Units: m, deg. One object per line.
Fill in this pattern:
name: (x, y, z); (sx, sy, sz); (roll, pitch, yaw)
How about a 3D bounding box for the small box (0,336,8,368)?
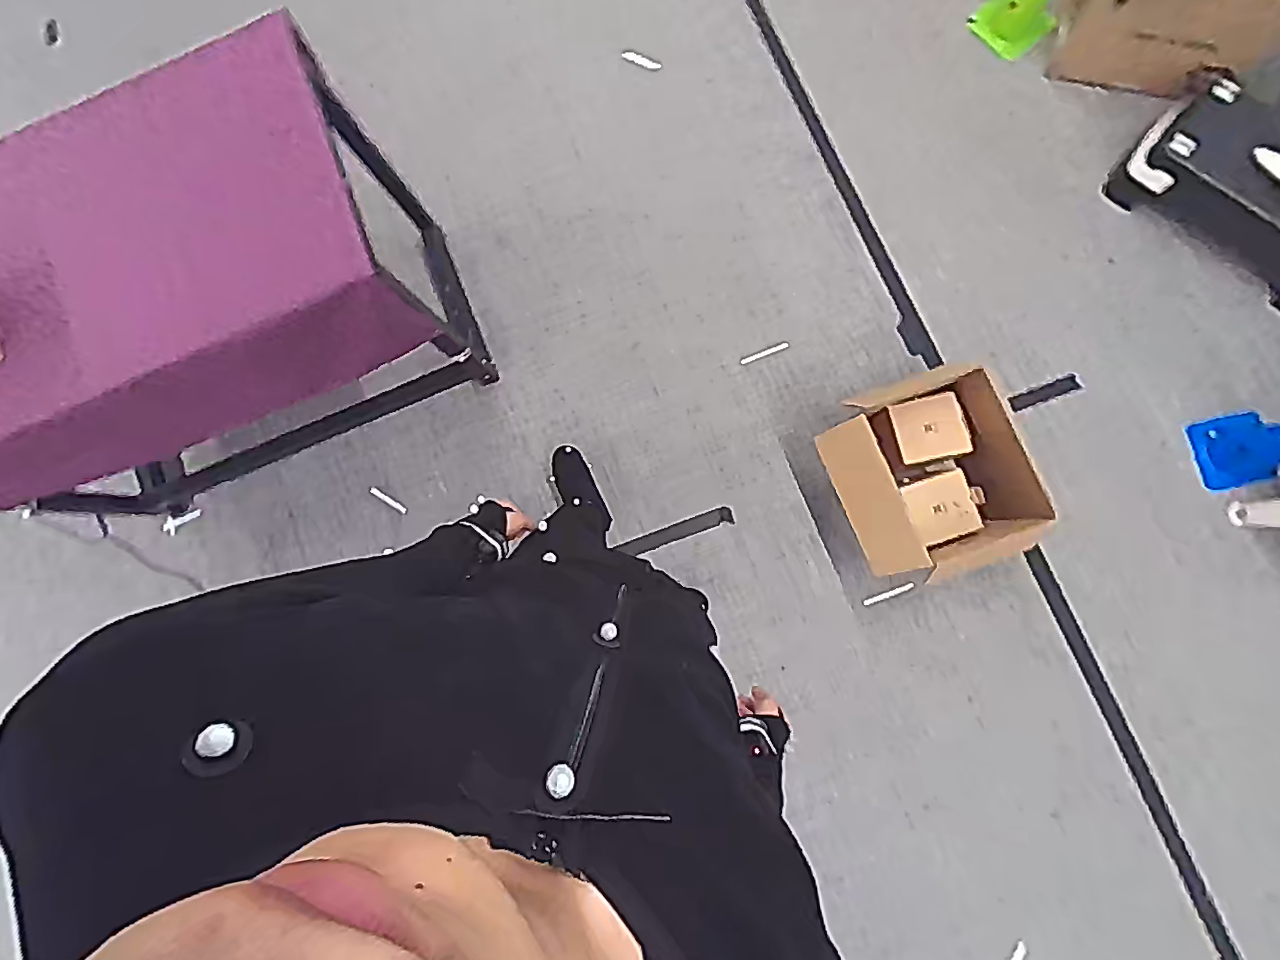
small box: (-1.333, -0.280, 0.978); (0.168, 0.176, 0.179); (-26, 84, 2)
